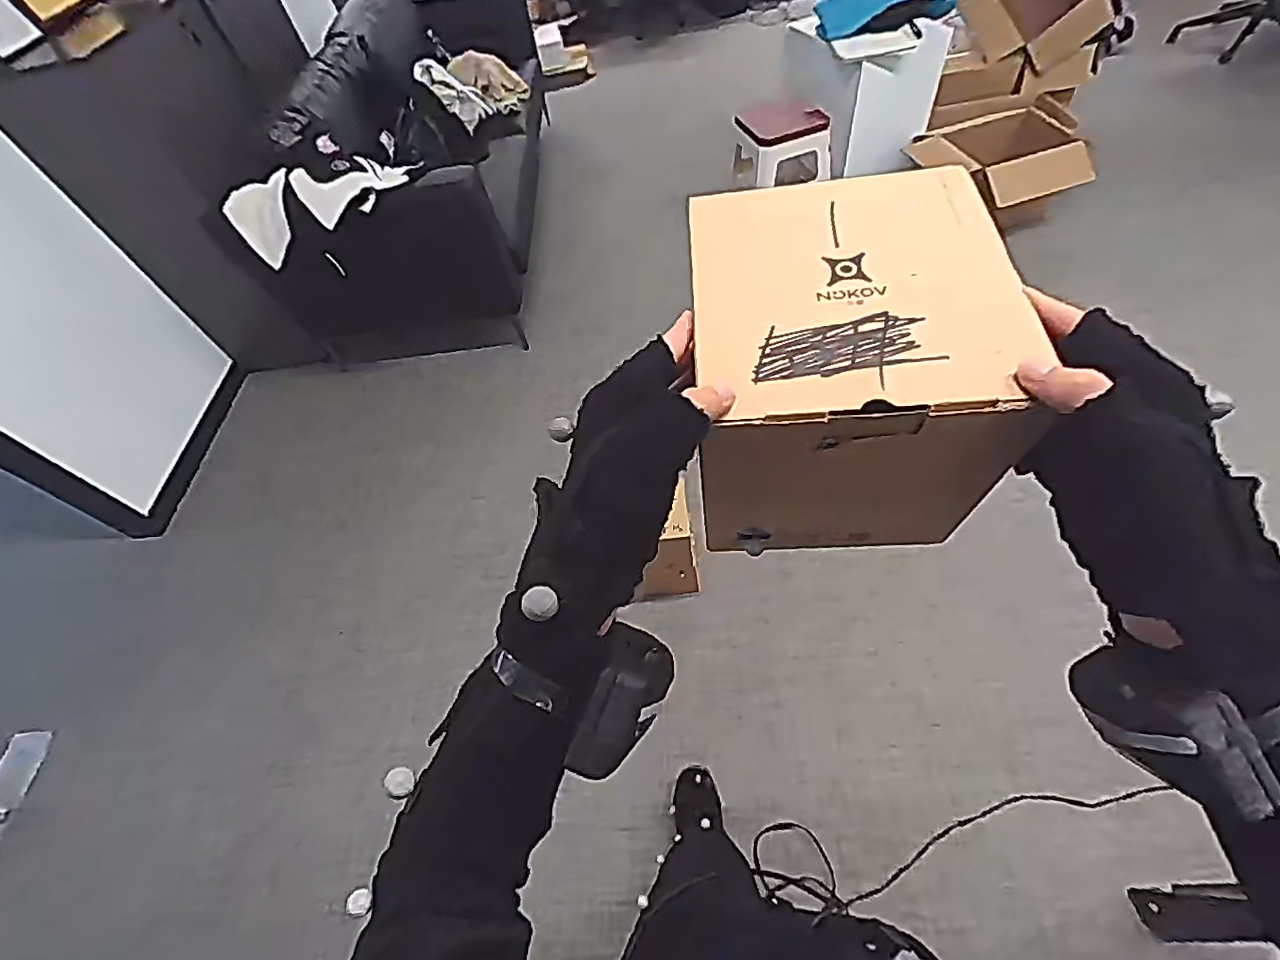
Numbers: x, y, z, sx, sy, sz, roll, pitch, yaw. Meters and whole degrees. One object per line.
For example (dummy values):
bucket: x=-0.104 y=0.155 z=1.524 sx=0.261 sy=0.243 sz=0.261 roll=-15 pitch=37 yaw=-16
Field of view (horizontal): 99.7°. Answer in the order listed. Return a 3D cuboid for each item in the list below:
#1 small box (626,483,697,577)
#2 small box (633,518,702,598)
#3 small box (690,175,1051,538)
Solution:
small box: x=0.056 y=0.131 z=1.395 sx=0.168 sy=0.176 sz=0.179 roll=-6 pitch=53 yaw=6
small box: x=0.079 y=0.225 z=1.528 sx=0.179 sy=0.176 sz=0.168 roll=-6 pitch=54 yaw=5
small box: x=0.123 y=-0.067 z=0.367 sx=0.168 sy=0.176 sz=0.179 roll=-3 pitch=59 yaw=8
